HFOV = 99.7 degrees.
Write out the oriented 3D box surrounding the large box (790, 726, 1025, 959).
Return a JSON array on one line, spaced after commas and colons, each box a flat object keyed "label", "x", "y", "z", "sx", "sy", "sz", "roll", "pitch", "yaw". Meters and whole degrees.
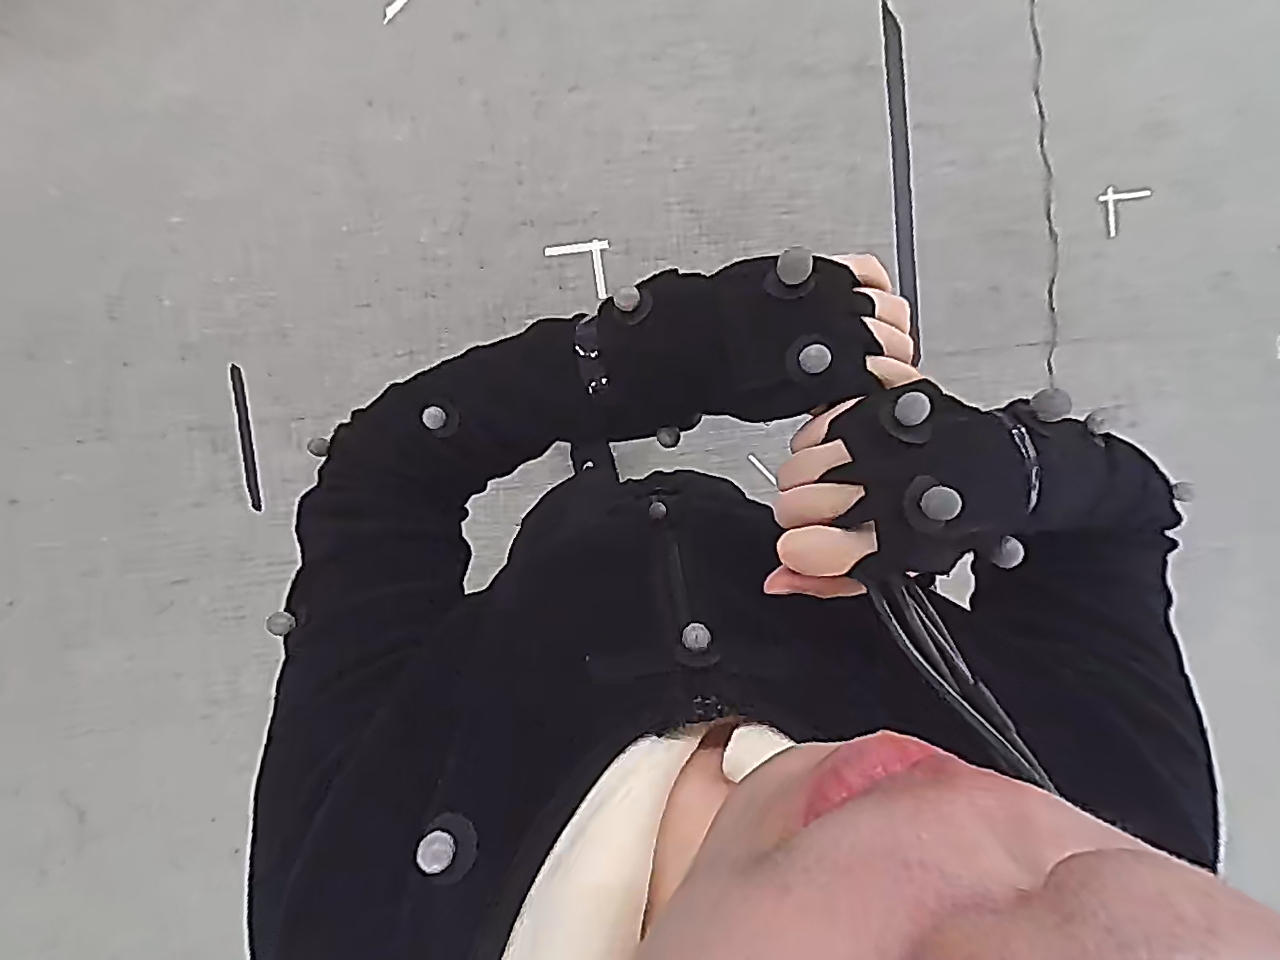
[{"label": "large box", "x": 0.572, "y": 0.841, "z": 1.220, "sx": 0.320, "sy": 0.320, "sz": 0.408, "roll": 13, "pitch": 92, "yaw": -2}]
